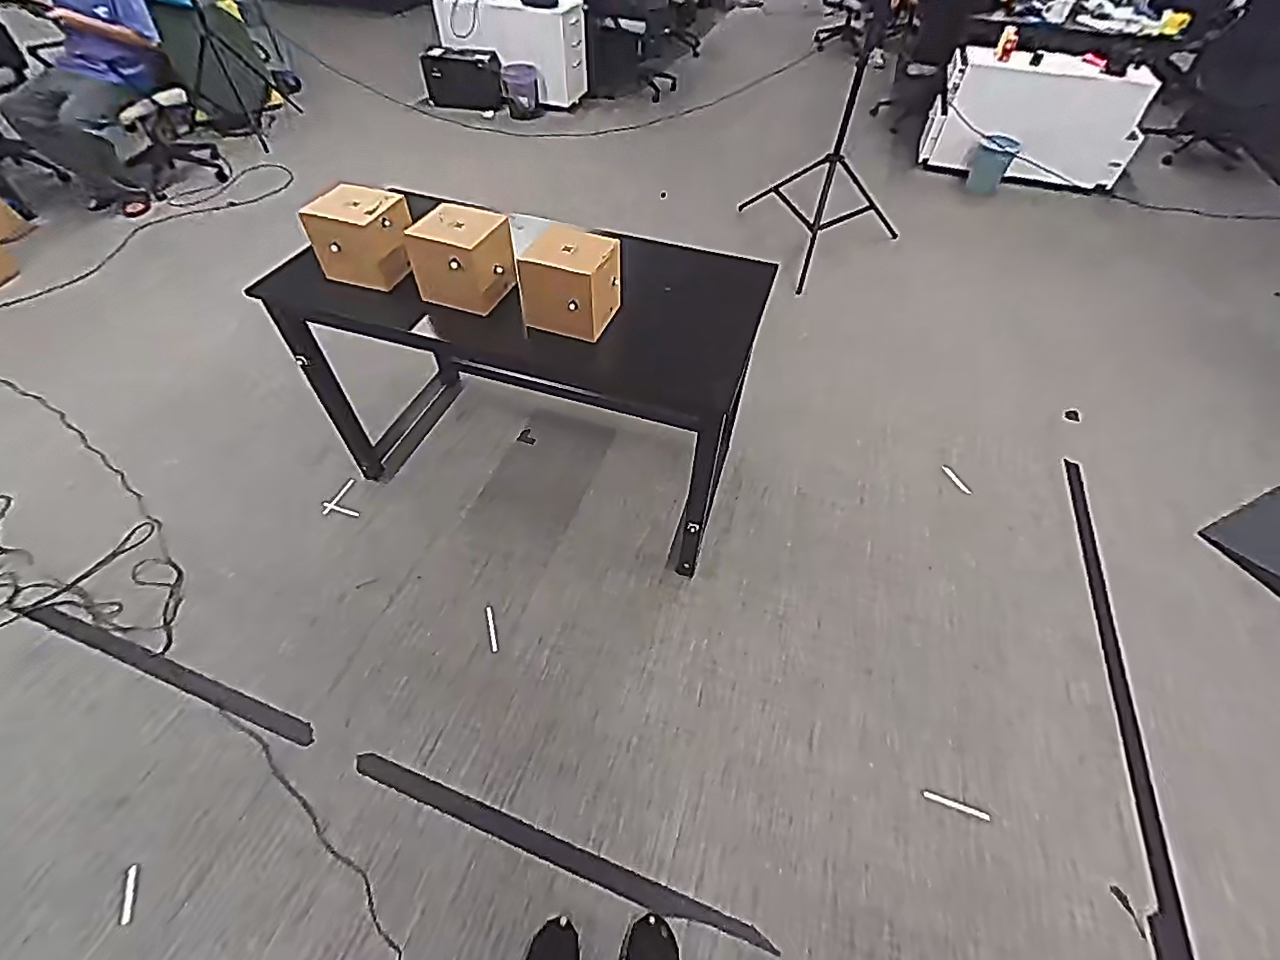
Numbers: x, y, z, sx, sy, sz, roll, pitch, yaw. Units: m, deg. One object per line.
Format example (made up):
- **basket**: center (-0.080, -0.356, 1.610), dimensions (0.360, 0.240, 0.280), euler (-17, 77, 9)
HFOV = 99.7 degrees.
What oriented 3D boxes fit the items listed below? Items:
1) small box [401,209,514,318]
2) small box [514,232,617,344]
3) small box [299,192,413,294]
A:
- **small box**: center (-0.418, -0.507, 1.276), dimensions (0.179, 0.176, 0.168), euler (16, 52, 11)
- **small box**: center (-0.159, -0.431, 1.225), dimensions (0.179, 0.176, 0.168), euler (15, 51, 12)
- **small box**: center (-0.677, -0.578, 1.326), dimensions (0.179, 0.176, 0.168), euler (14, 52, 9)
